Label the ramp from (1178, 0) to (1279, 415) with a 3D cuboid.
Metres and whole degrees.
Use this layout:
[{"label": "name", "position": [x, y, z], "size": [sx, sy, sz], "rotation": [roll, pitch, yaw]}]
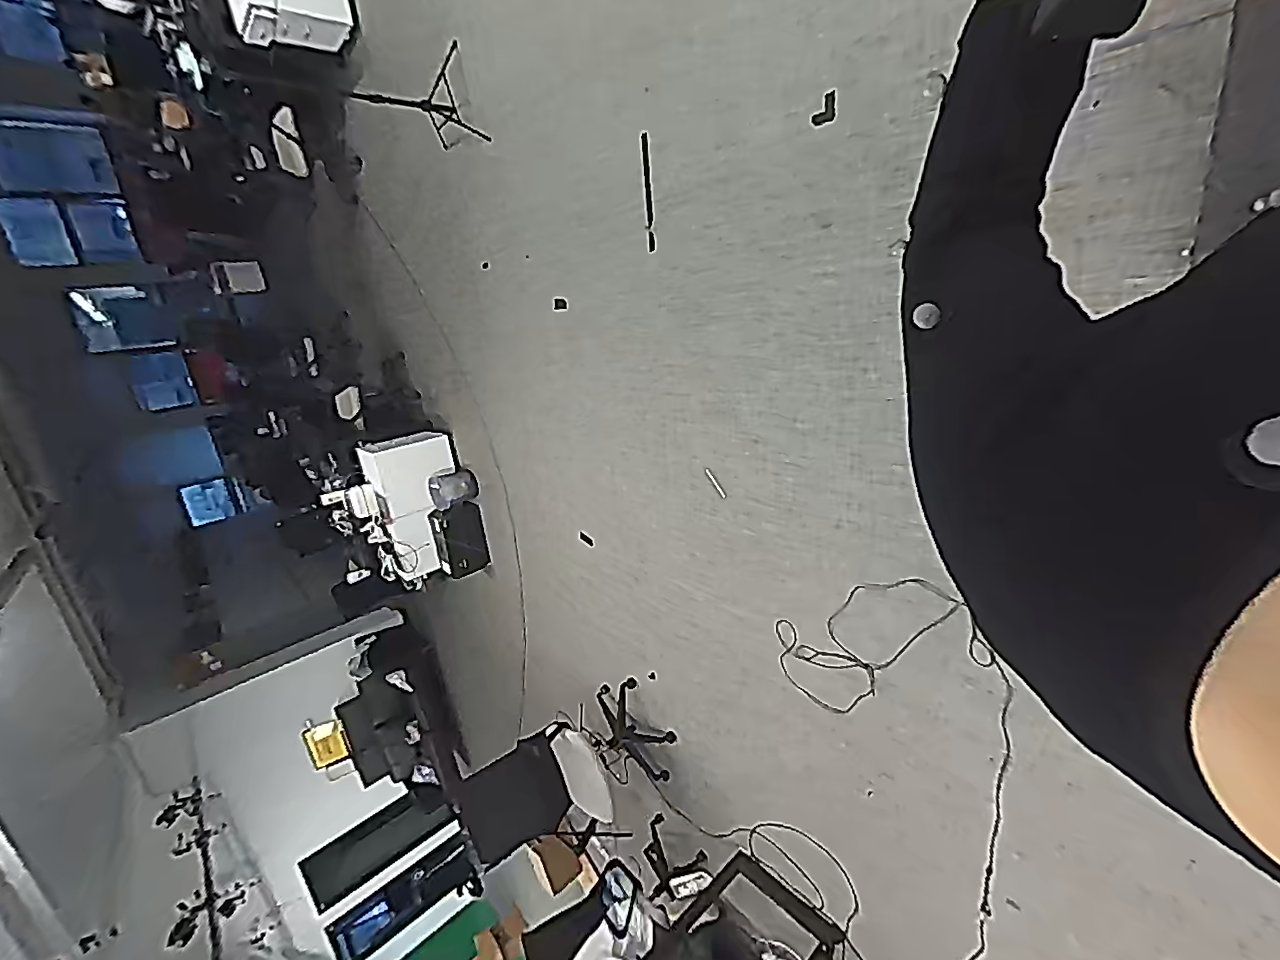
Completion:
[{"label": "ramp", "position": [1.169, -0.547, 0.758], "size": [0.509, 0.206, 0.991], "rotation": [11, 115, 47]}]
